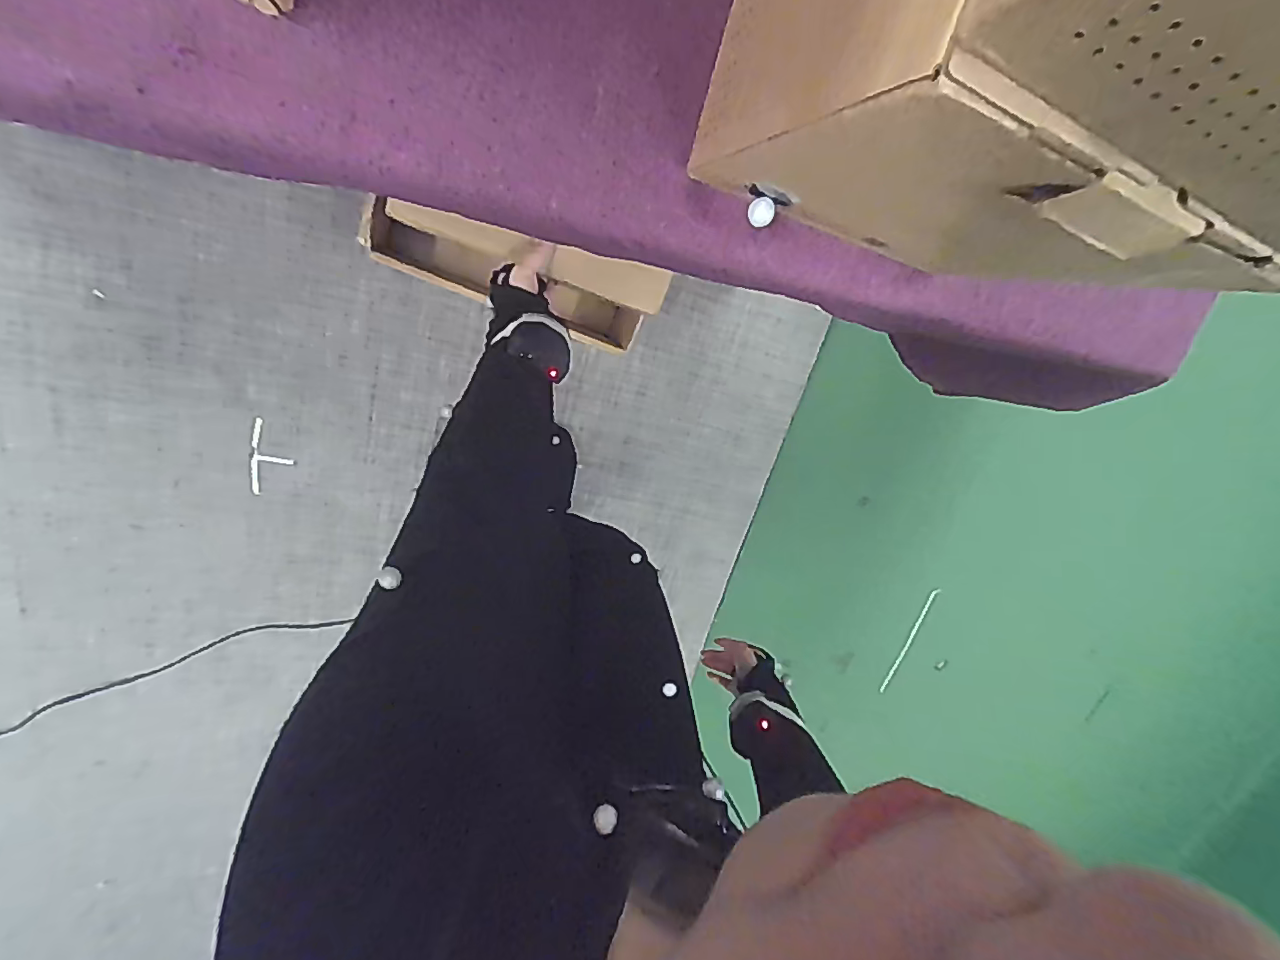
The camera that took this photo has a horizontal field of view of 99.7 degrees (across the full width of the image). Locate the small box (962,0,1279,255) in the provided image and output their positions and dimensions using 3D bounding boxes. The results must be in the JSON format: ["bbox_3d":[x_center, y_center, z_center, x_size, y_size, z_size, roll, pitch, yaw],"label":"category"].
[{"bbox_3d":[0.185,-0.119,0.049,0.179,0.176,0.168,11,108,-20],"label":"small box"}]
